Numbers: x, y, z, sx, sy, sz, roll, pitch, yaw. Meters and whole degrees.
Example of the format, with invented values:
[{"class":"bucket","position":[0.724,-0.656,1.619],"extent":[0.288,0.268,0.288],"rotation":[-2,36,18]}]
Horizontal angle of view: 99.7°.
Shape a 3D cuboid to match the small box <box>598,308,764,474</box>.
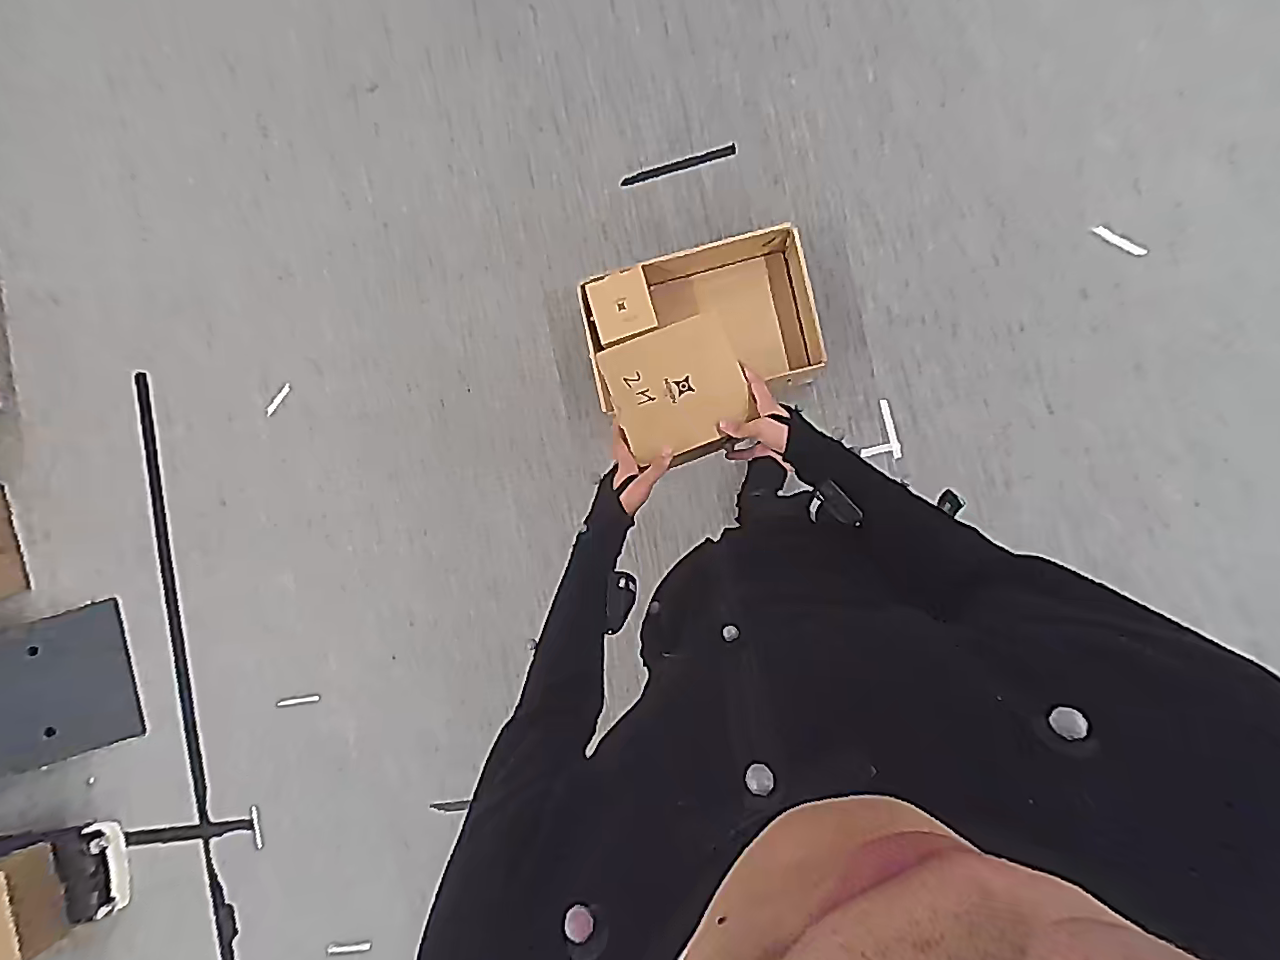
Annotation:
[{"class":"small box","position":[0.054,-0.115,0.776],"extent":[0.179,0.176,0.168],"rotation":[-21,85,1]}]
